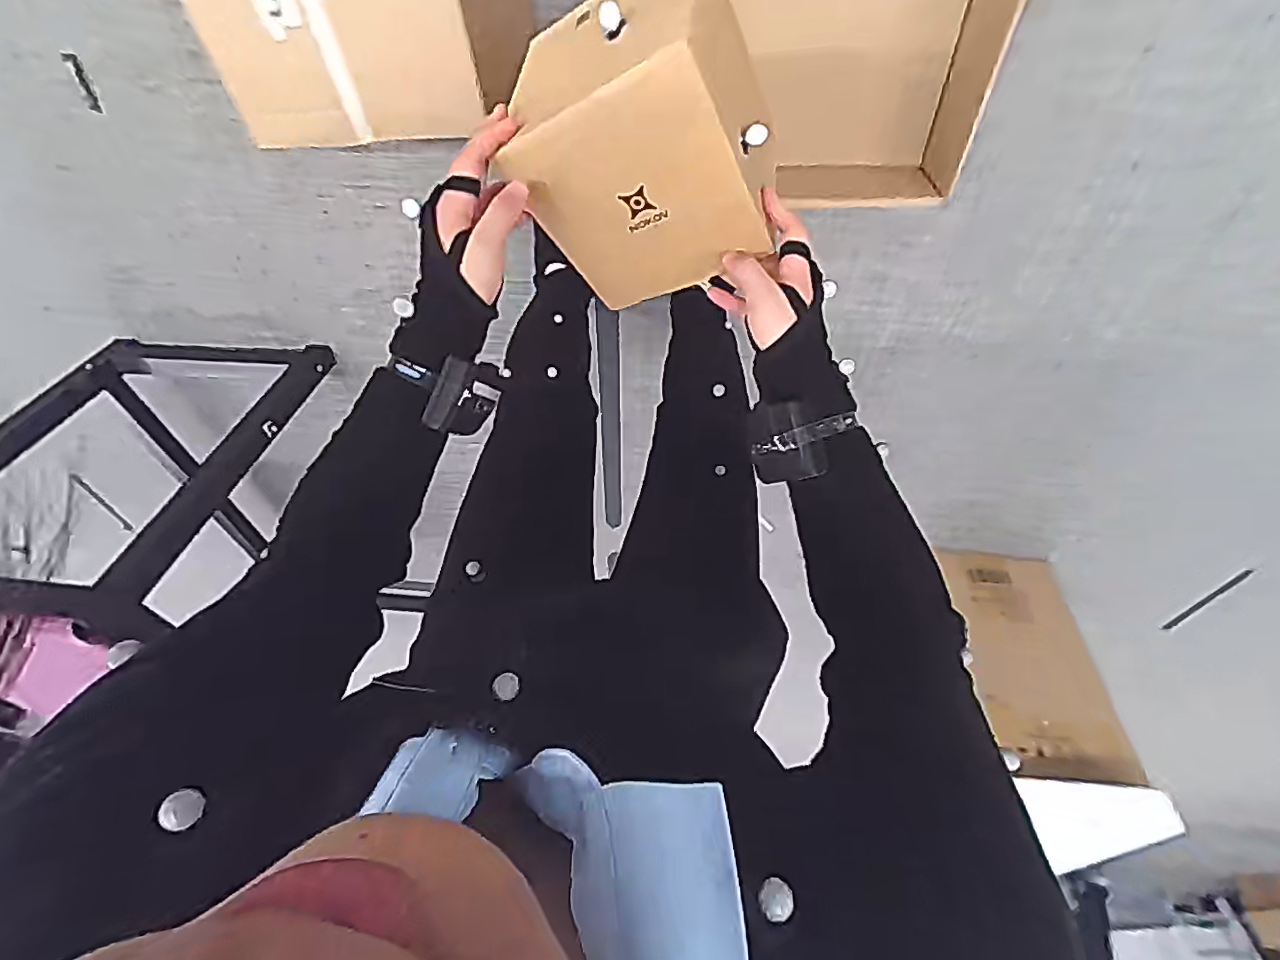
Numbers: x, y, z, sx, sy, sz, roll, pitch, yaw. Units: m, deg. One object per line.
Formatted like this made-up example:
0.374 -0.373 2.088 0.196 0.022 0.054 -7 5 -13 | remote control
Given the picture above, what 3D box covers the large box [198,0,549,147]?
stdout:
-0.320 -0.667 0.623 0.320 0.320 0.408 2 138 8 | large box
